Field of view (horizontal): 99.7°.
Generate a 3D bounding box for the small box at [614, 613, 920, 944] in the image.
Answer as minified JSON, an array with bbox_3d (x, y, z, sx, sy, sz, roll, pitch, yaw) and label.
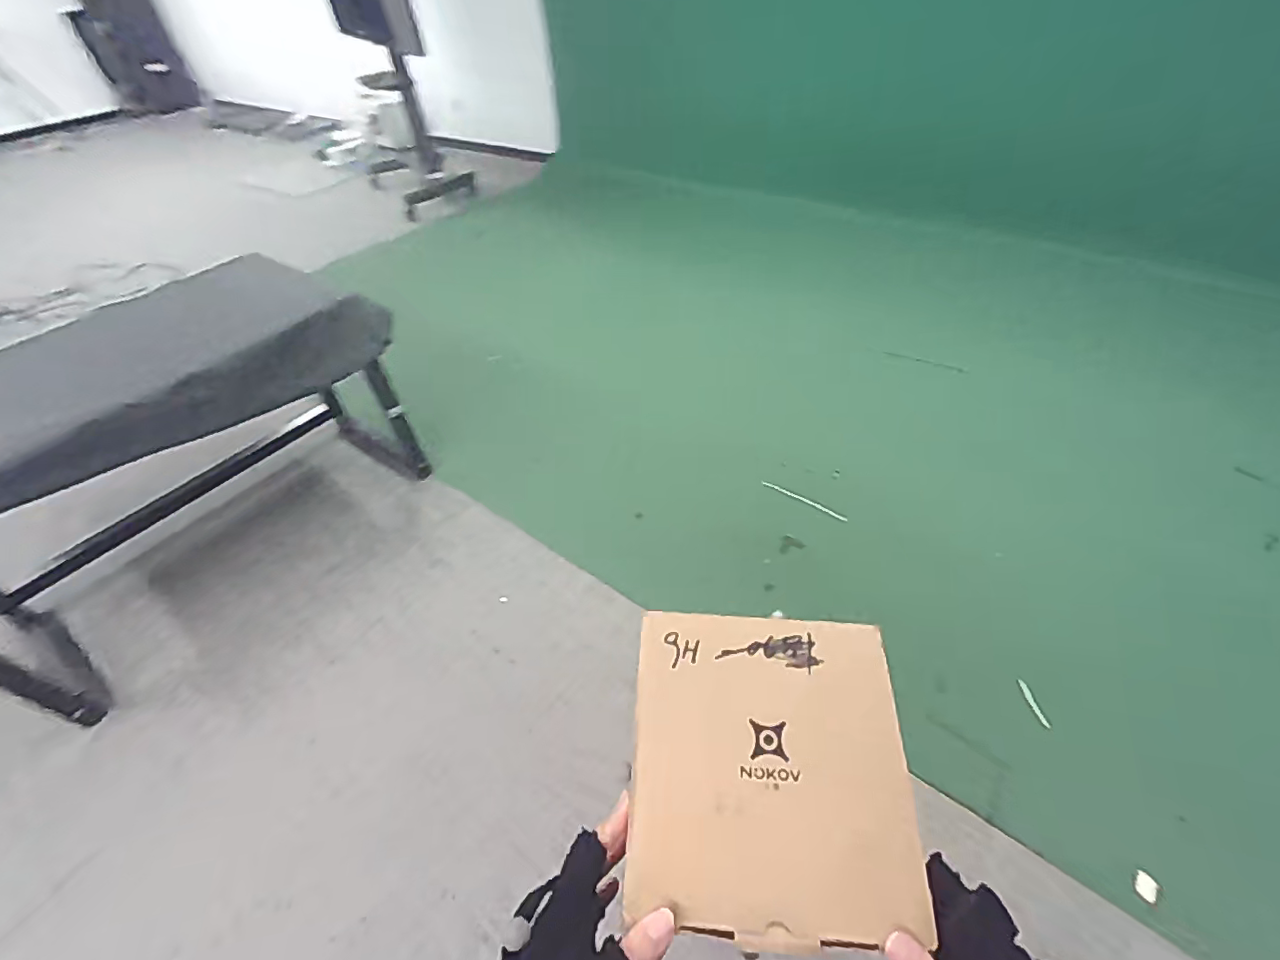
[{"bbox_3d":[0.075,0.212,0.400,0.168,0.176,0.179,1,56,3],"label":"small box"}]
